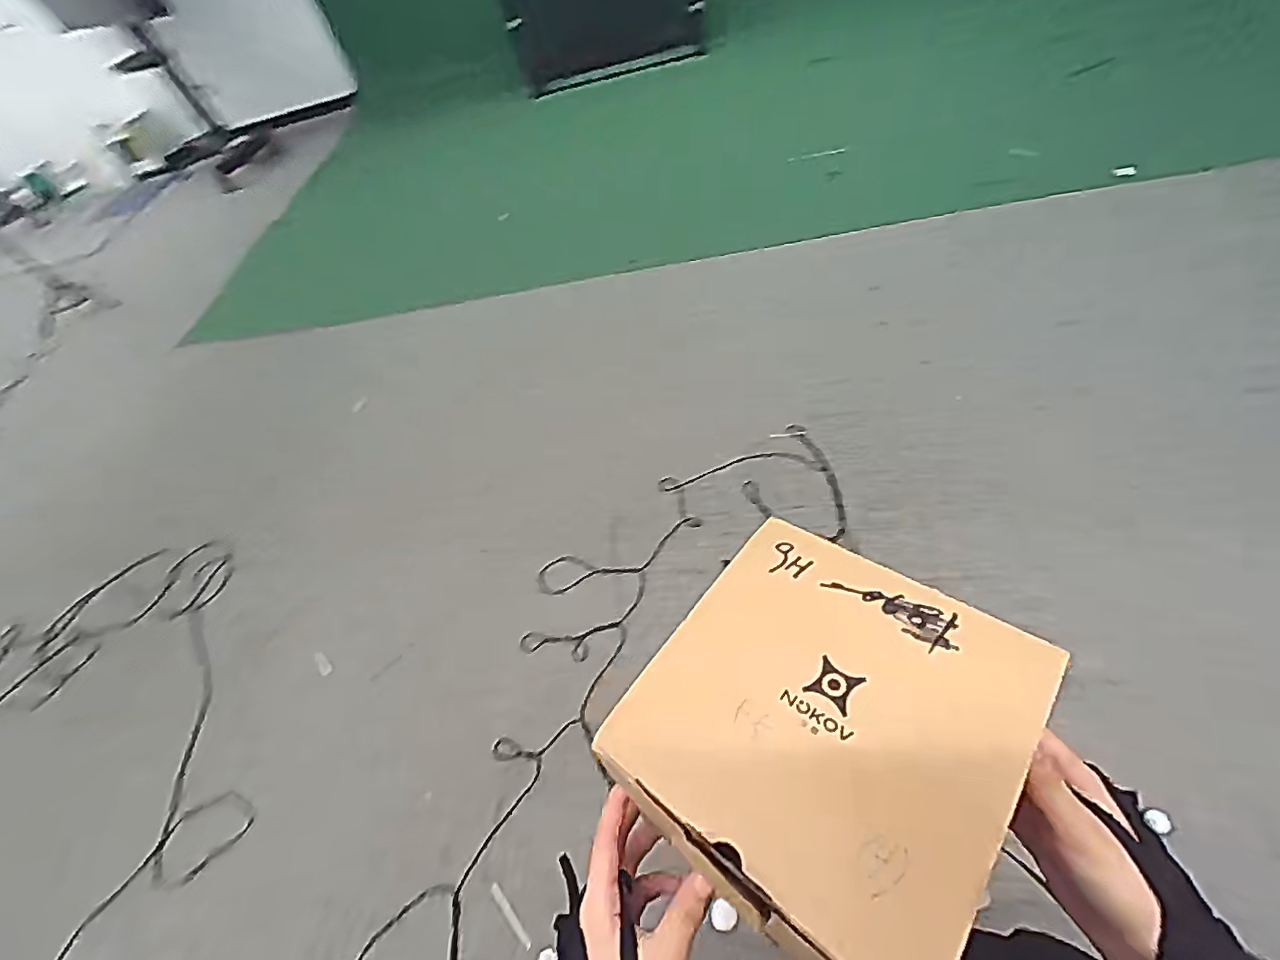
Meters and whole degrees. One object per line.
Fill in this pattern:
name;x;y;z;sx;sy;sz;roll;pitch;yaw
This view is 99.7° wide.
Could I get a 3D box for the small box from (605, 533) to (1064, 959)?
small box;0.110;0.172;0.330;0.168;0.176;0.179;27;59;34
